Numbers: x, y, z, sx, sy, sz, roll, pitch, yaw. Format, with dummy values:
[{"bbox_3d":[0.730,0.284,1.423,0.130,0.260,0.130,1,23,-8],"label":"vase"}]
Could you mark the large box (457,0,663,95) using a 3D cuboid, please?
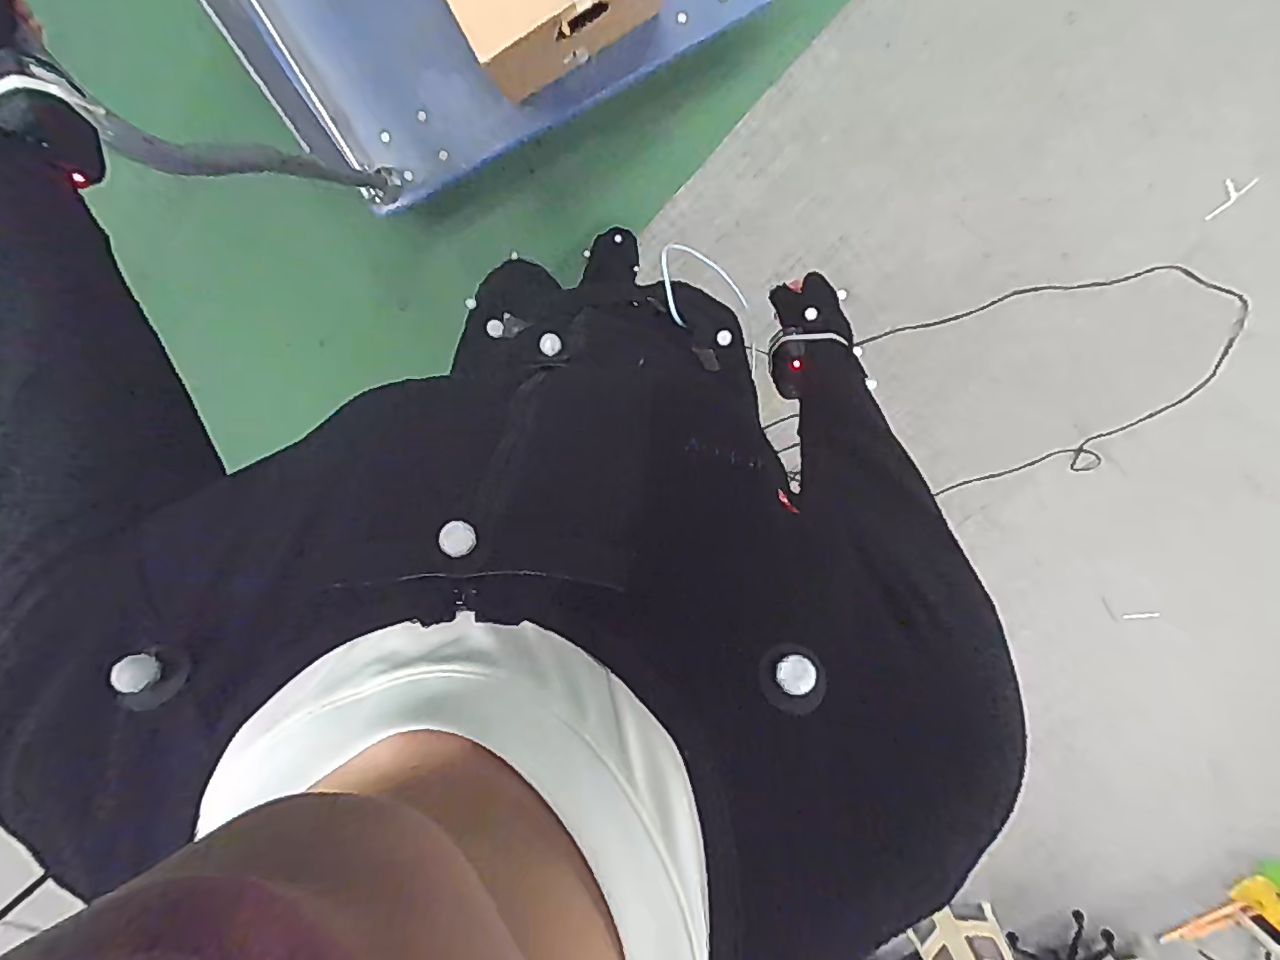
[{"bbox_3d":[-0.172,-0.864,0.764,0.320,0.320,0.408,-27,115,9],"label":"large box"}]
